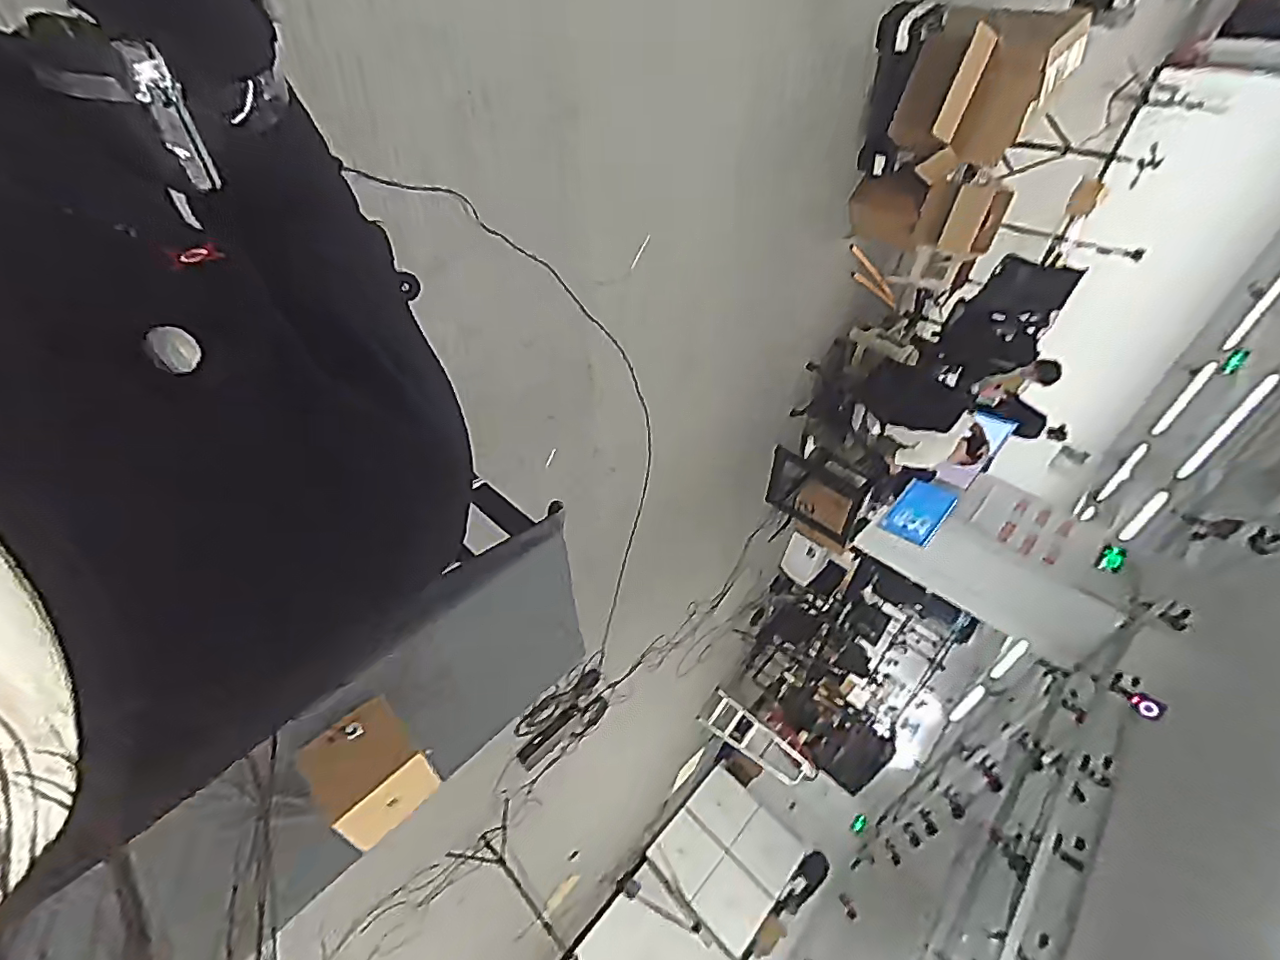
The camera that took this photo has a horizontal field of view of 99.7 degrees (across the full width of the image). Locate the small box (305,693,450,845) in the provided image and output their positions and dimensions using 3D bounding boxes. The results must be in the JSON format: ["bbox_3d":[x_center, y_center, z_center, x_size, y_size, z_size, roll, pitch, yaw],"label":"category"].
[{"bbox_3d":[-0.501,0.547,1.041,0.168,0.176,0.179,-37,144,-32],"label":"small box"}]
